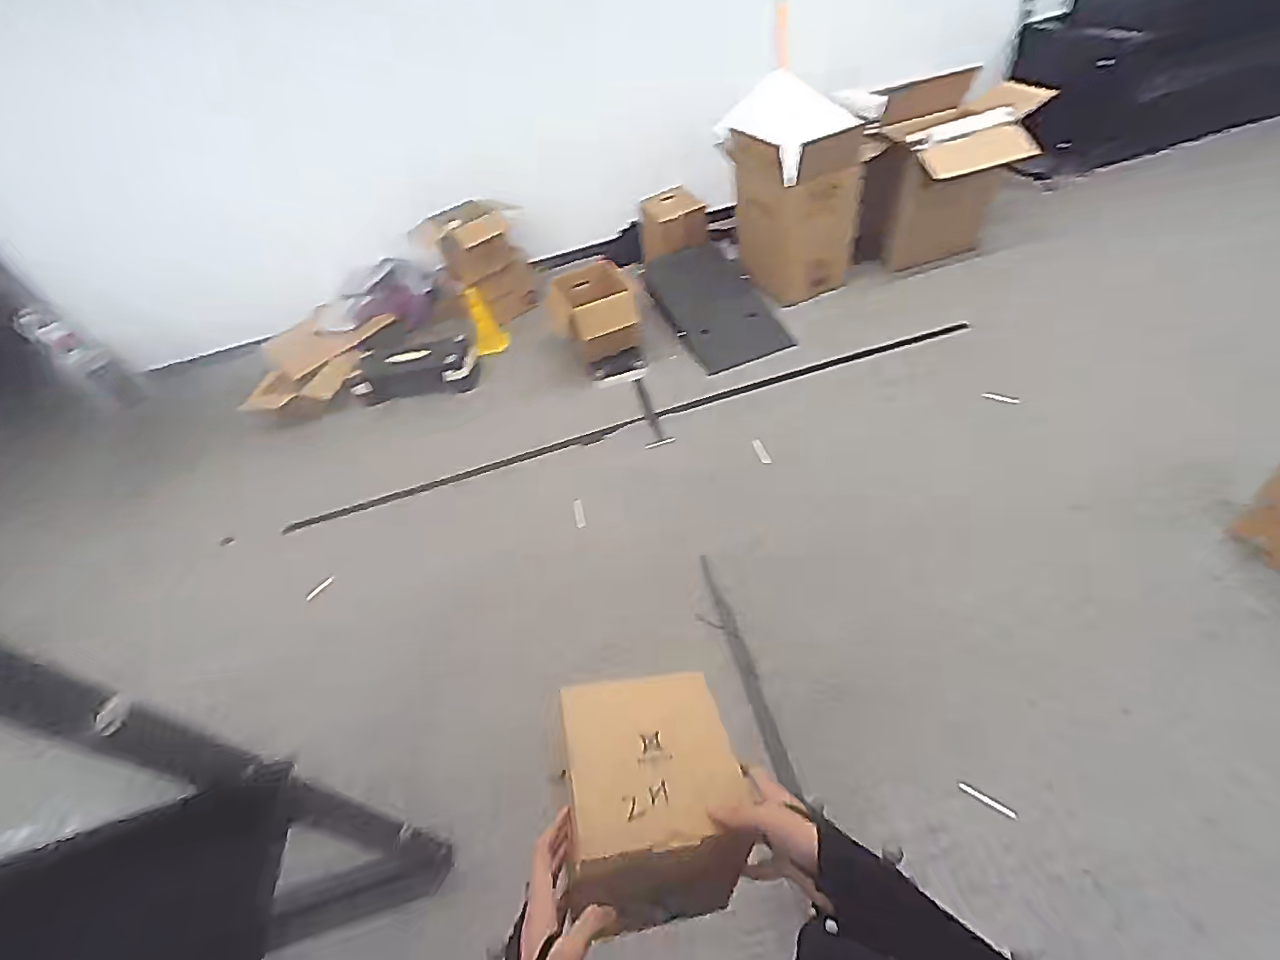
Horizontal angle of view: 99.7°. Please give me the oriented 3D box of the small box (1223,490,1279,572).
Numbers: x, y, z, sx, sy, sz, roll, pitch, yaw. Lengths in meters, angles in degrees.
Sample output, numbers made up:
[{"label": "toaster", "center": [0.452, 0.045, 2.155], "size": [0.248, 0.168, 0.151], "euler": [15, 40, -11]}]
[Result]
[{"label": "small box", "center": [1.904, 0.142, 1.589], "size": [0.179, 0.176, 0.168], "euler": [-18, 44, -4]}]

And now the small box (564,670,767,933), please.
[{"label": "small box", "center": [0.010, 0.332, 0.576], "size": [0.168, 0.176, 0.179], "euler": [0, 31, -13]}]
